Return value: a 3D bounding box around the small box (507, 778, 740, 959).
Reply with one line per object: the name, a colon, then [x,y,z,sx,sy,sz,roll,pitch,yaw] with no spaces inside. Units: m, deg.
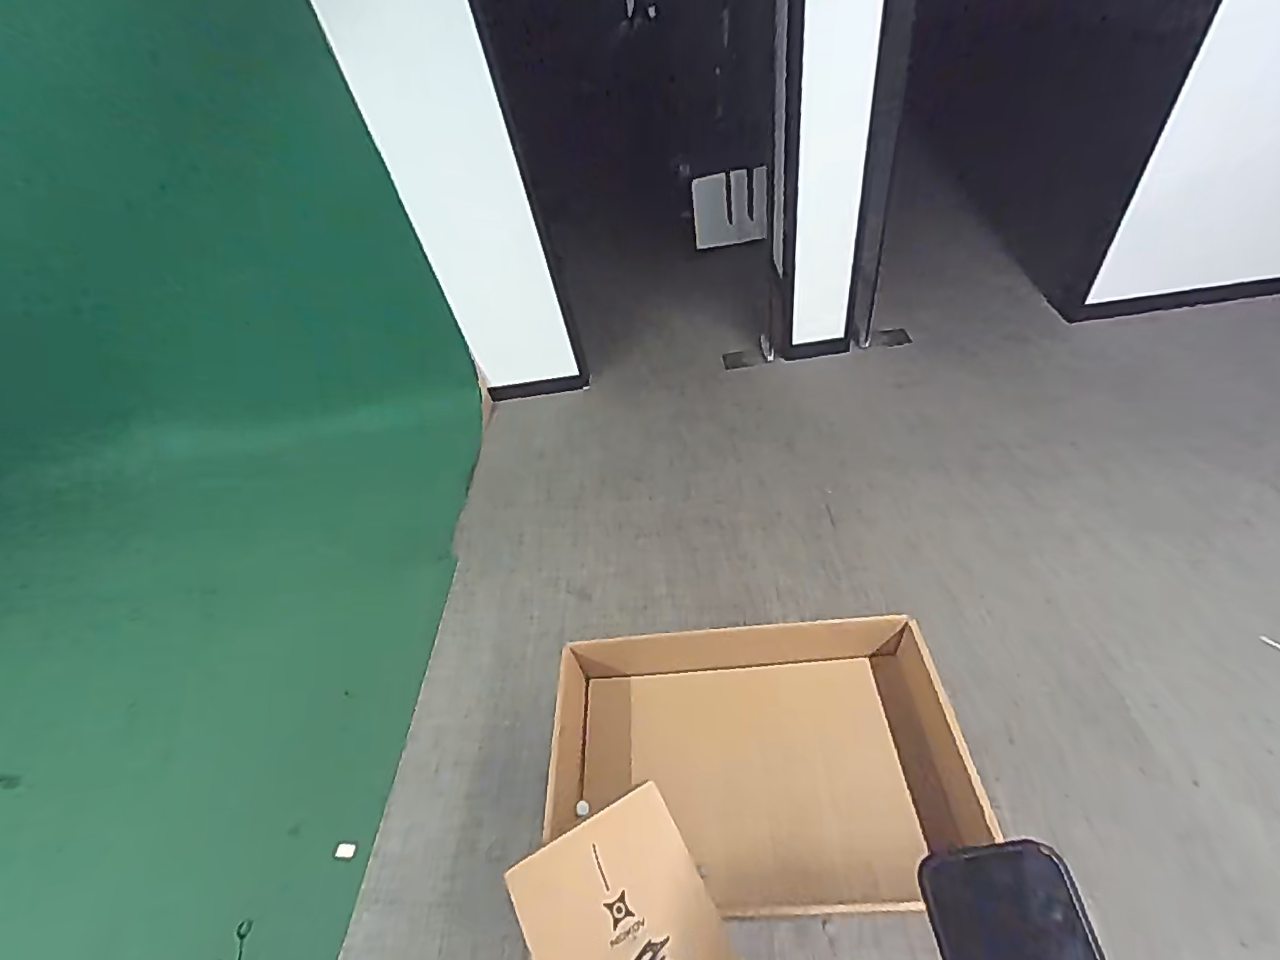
small box: [-0.022,0.443,0.570,0.168,0.176,0.179,-23,63,-18]
